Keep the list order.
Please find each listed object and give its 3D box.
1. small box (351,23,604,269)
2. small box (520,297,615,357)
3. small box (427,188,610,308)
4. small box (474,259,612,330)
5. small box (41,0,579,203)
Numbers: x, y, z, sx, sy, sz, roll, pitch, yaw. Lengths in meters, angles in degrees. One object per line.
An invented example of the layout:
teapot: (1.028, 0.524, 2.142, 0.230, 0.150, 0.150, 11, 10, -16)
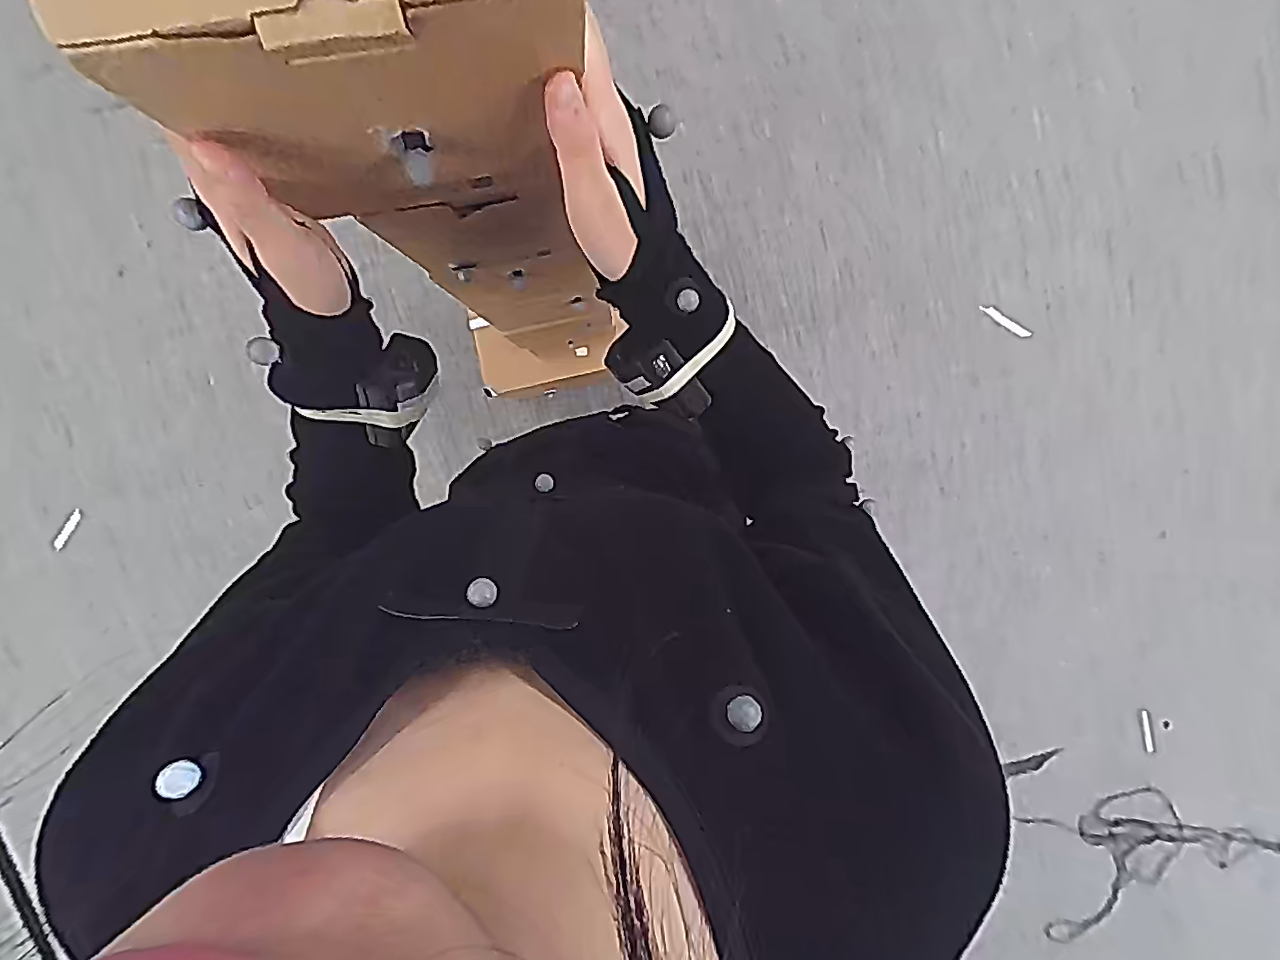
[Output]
small box: (-0.123, -0.277, 0.418, 0.168, 0.176, 0.179, -11, 96, -1)
small box: (-0.152, -0.349, 1.068, 0.179, 0.176, 0.168, -16, 98, -2)
small box: (-0.133, -0.295, 0.581, 0.179, 0.176, 0.168, -12, 98, -1)
small box: (-0.140, -0.313, 0.742, 0.179, 0.176, 0.168, -12, 97, -1)
small box: (-0.121, -0.239, 0.234, 0.168, 0.176, 0.179, -11, 101, -4)
